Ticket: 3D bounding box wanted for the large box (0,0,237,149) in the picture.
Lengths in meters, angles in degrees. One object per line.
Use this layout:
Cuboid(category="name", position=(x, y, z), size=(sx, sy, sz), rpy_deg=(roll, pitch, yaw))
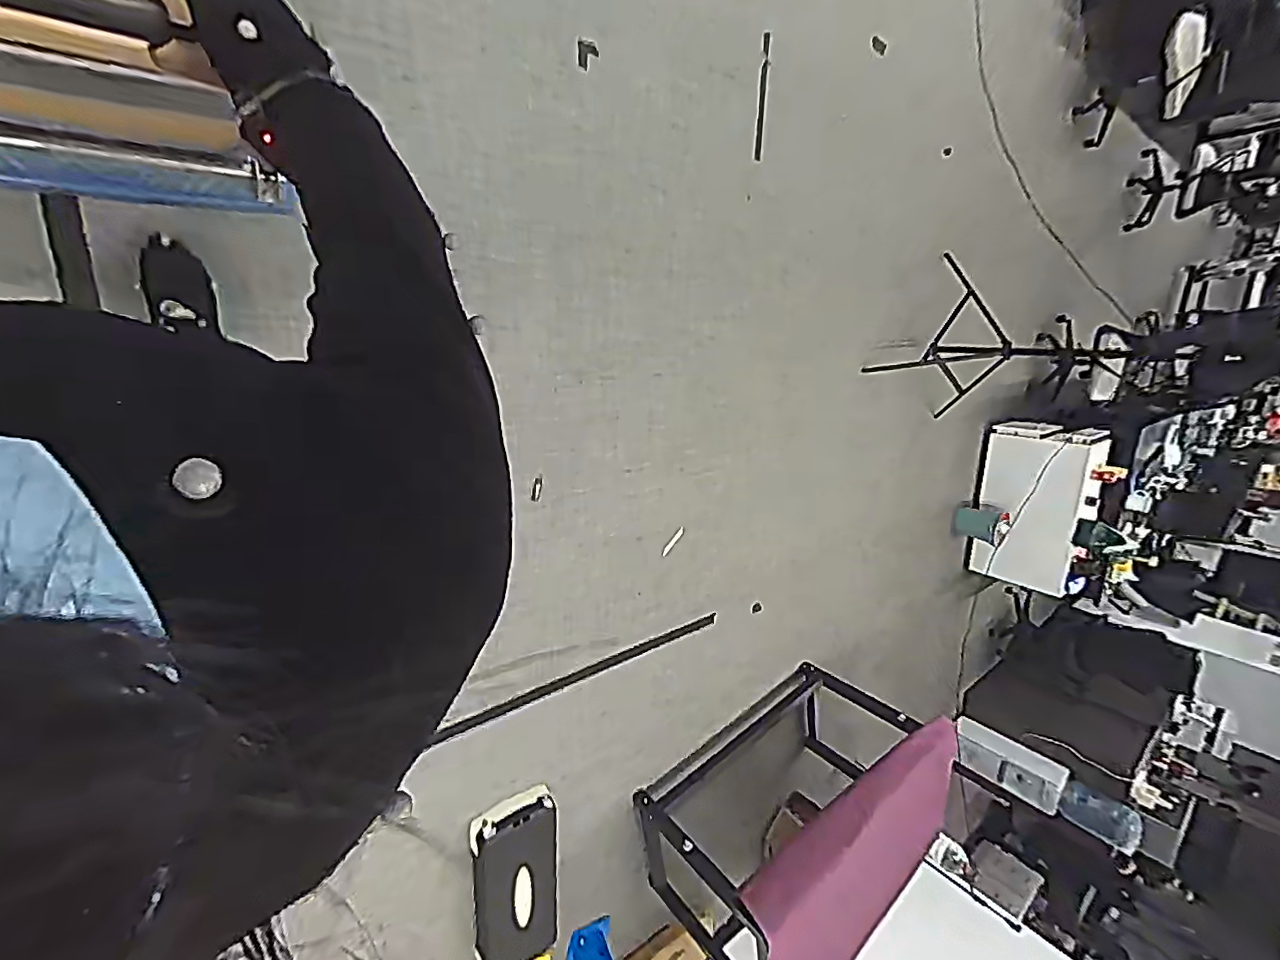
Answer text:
Cuboid(category="large box", position=(-0.801, -0.670, 0.693), size=(0.408, 0.320, 0.320), rpy_deg=(-12, 109, -37))
